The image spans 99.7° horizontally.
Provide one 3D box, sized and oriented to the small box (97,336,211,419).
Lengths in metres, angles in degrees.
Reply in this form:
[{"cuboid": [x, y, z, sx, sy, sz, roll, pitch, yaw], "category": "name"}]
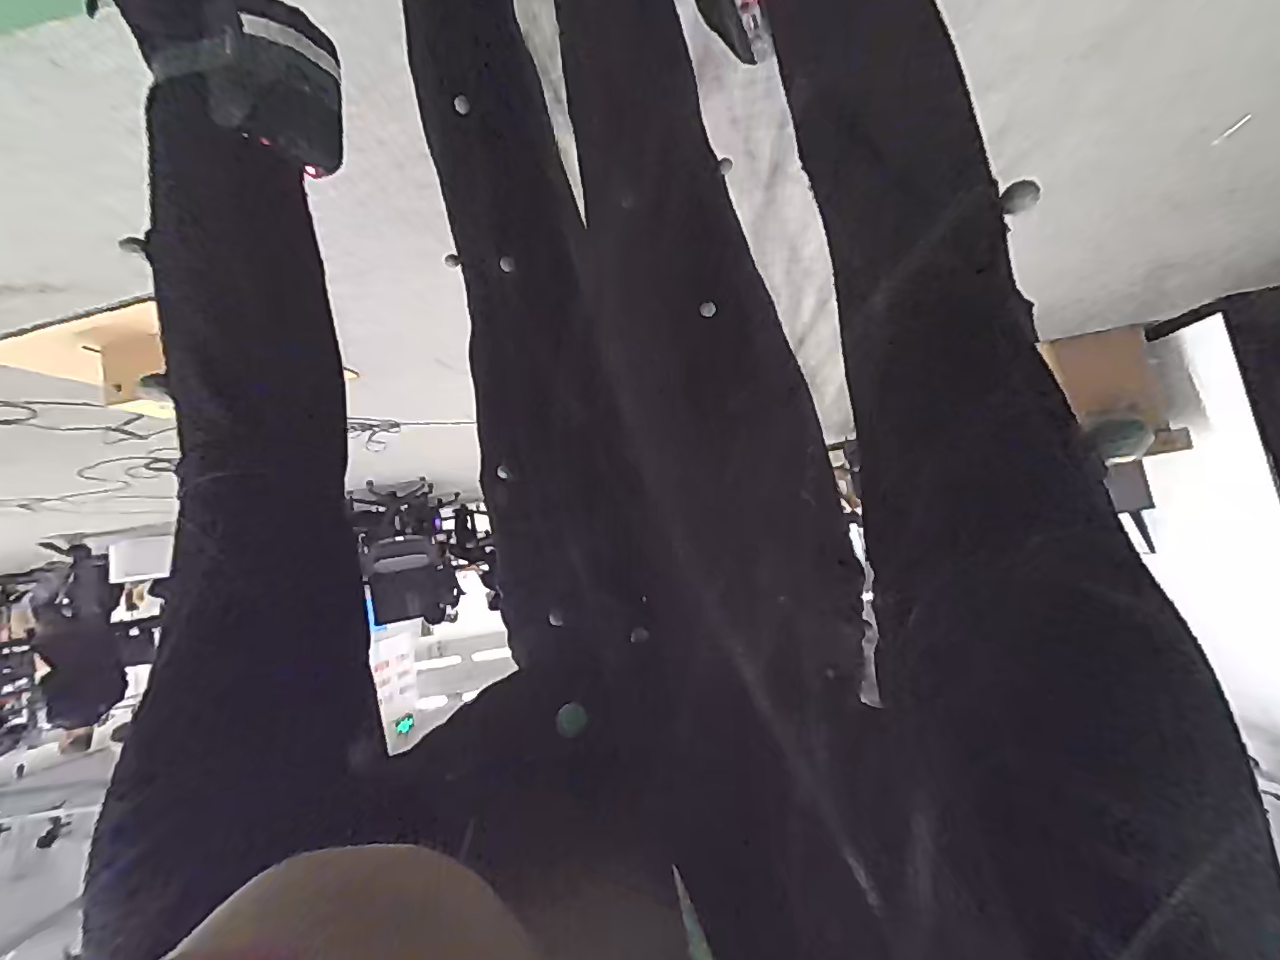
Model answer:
[{"cuboid": [-1.330, -0.278, 1.484, 0.179, 0.176, 0.168, -11, 175, 4], "category": "small box"}]
